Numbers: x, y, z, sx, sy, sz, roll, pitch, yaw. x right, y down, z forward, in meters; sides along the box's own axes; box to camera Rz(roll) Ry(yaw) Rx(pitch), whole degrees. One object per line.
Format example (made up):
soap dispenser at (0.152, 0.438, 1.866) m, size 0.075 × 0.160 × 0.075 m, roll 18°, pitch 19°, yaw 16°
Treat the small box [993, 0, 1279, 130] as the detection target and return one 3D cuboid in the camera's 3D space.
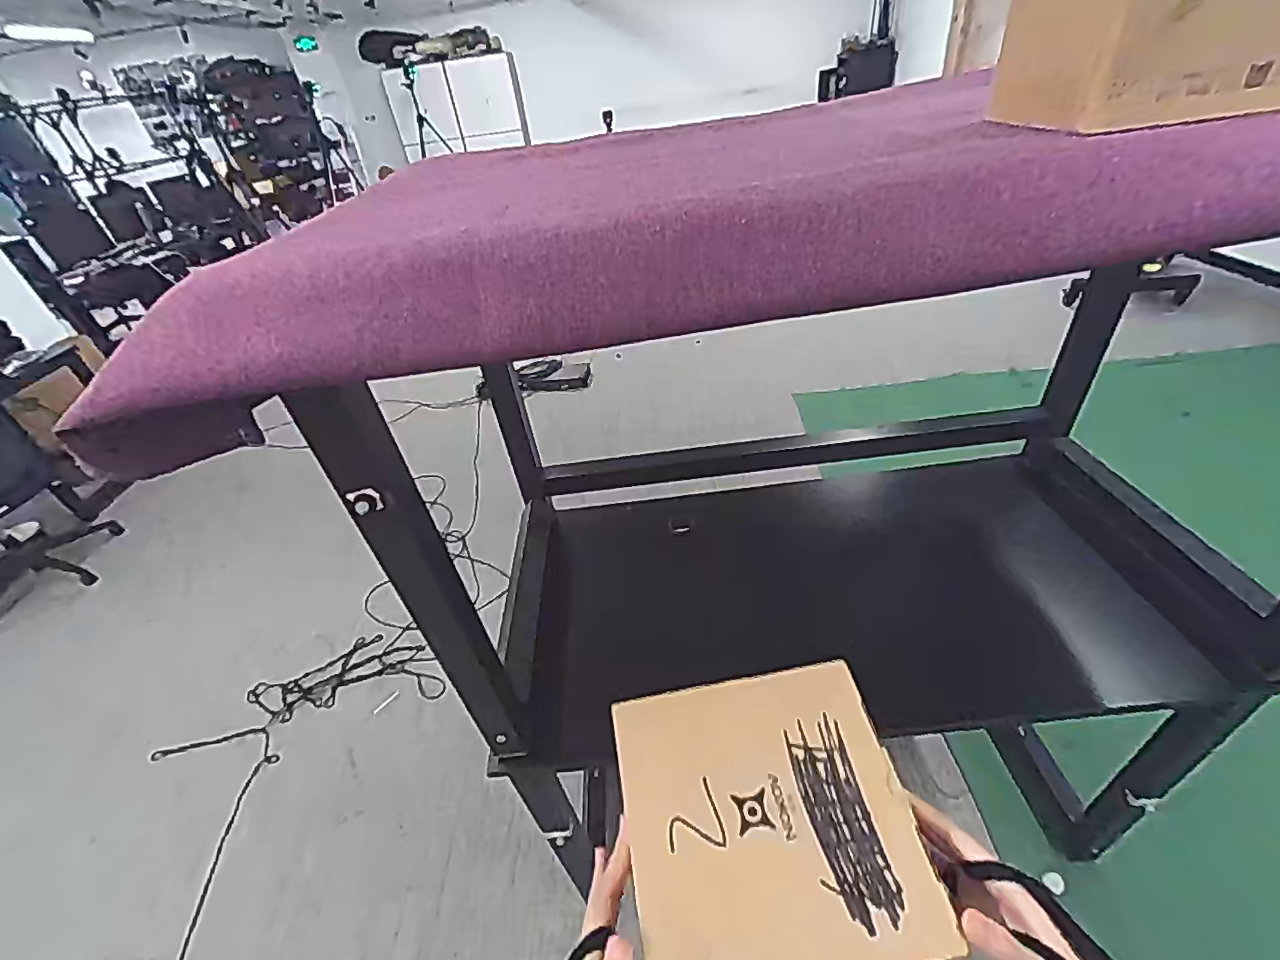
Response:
small box at (0.409, -0.377, 0.412) m, size 0.168 × 0.176 × 0.179 m, roll -3°, pitch 36°, yaw 7°
